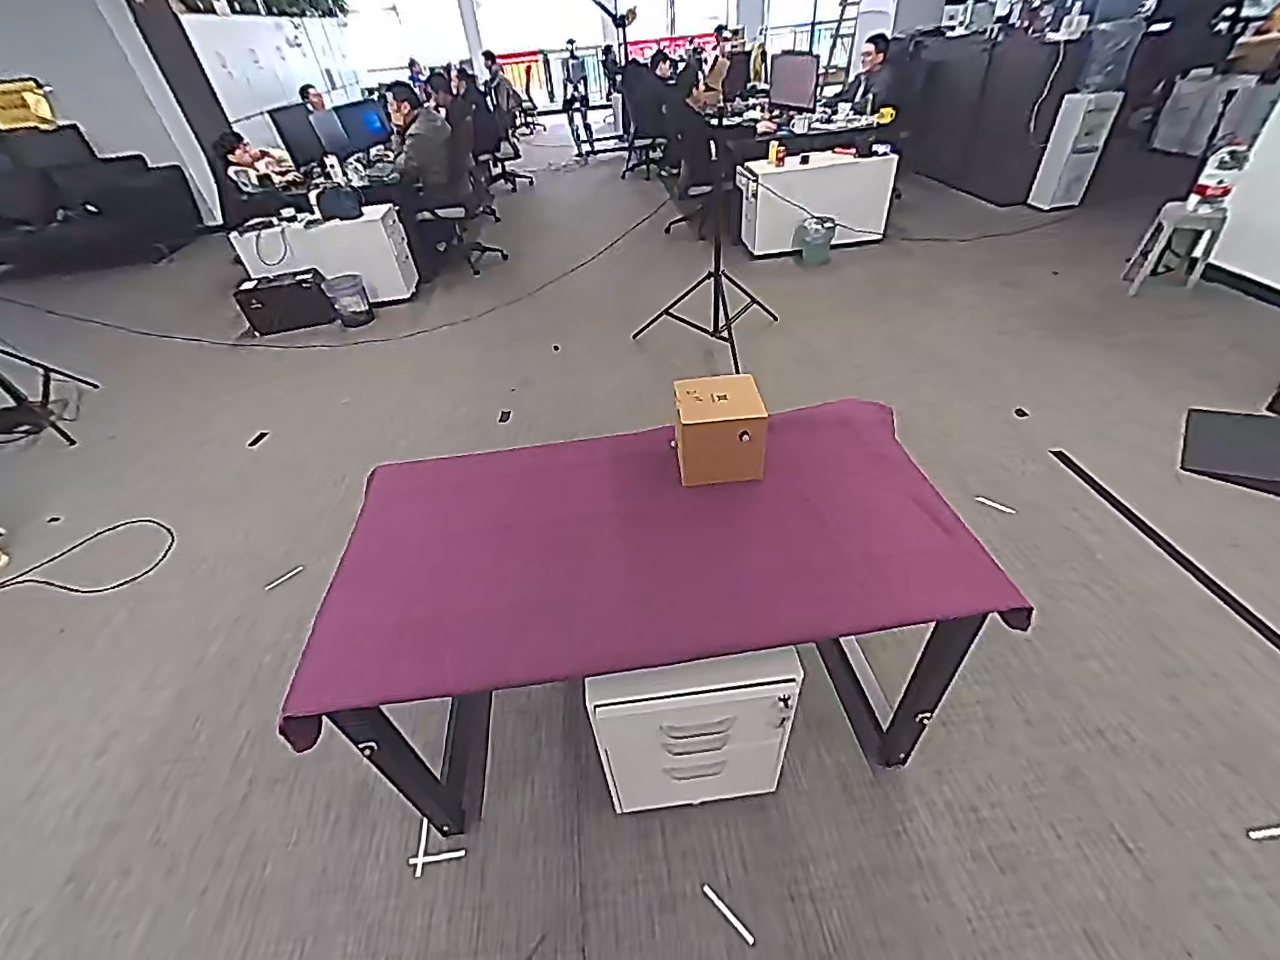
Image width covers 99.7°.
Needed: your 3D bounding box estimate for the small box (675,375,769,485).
[{"bbox_3d":[0.171,-0.107,1.177,0.179,0.176,0.168,-6,41,1],"label":"small box"}]
